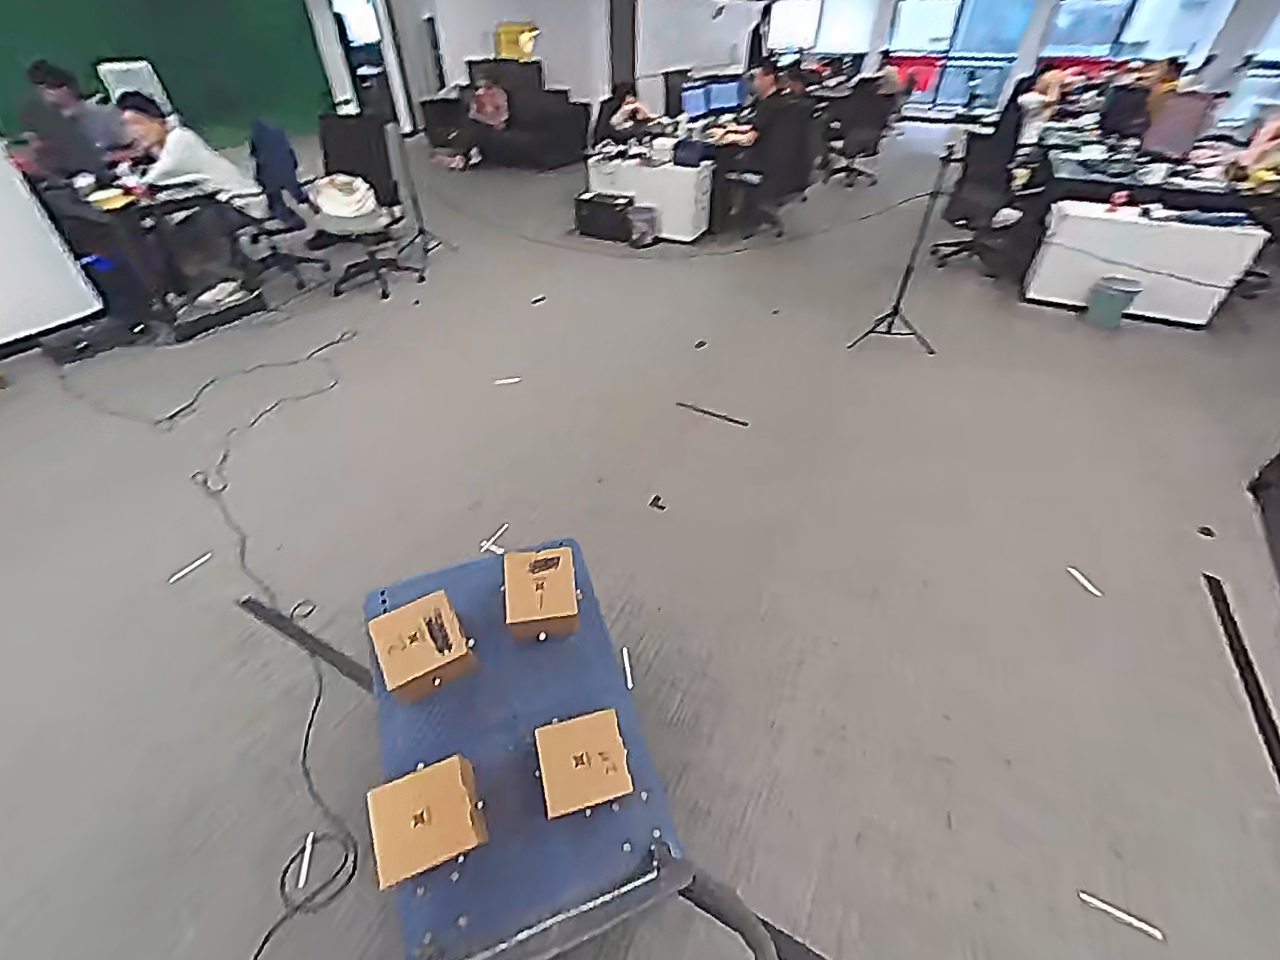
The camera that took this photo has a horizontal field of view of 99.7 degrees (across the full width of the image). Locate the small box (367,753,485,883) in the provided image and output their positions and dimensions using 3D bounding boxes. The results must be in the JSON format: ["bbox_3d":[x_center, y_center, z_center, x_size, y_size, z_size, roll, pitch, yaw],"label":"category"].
[{"bbox_3d":[-0.426,0.679,1.092,0.179,0.176,0.168,-16,62,-19],"label":"small box"}]

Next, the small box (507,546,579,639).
[{"bbox_3d":[-0.247,0.285,1.363,0.168,0.176,0.179,-4,60,-11],"label":"small box"}]

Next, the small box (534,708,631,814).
[{"bbox_3d":[-0.126,0.613,1.176,0.179,0.176,0.168,-9,61,-13],"label":"small box"}]
